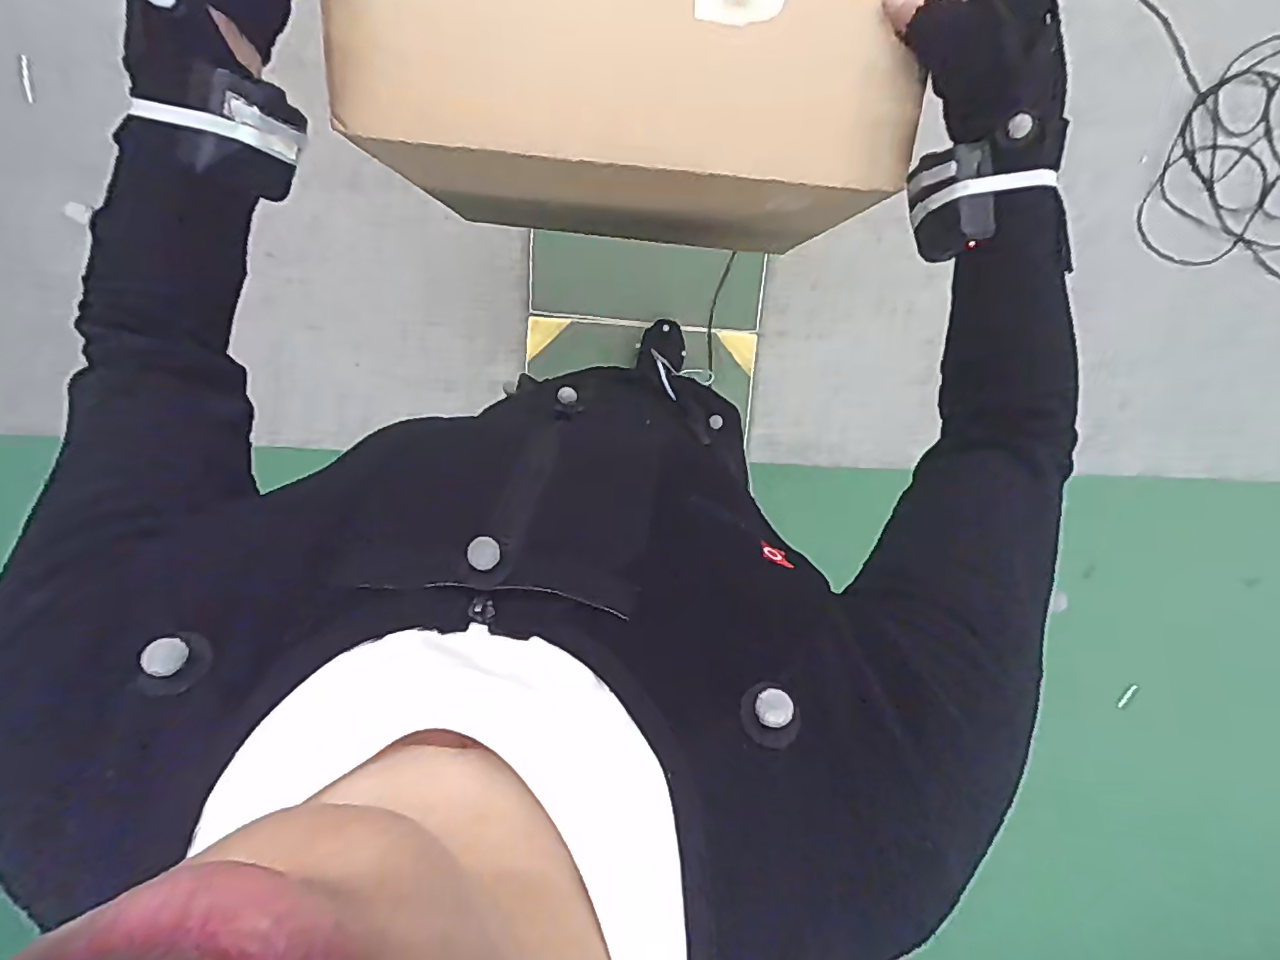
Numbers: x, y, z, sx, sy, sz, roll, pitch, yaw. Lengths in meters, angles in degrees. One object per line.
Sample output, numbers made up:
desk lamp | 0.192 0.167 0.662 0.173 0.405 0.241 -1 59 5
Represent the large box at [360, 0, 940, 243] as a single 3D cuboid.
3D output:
large box | 0.007 -0.421 0.498 0.408 0.320 0.320 4 106 -3
